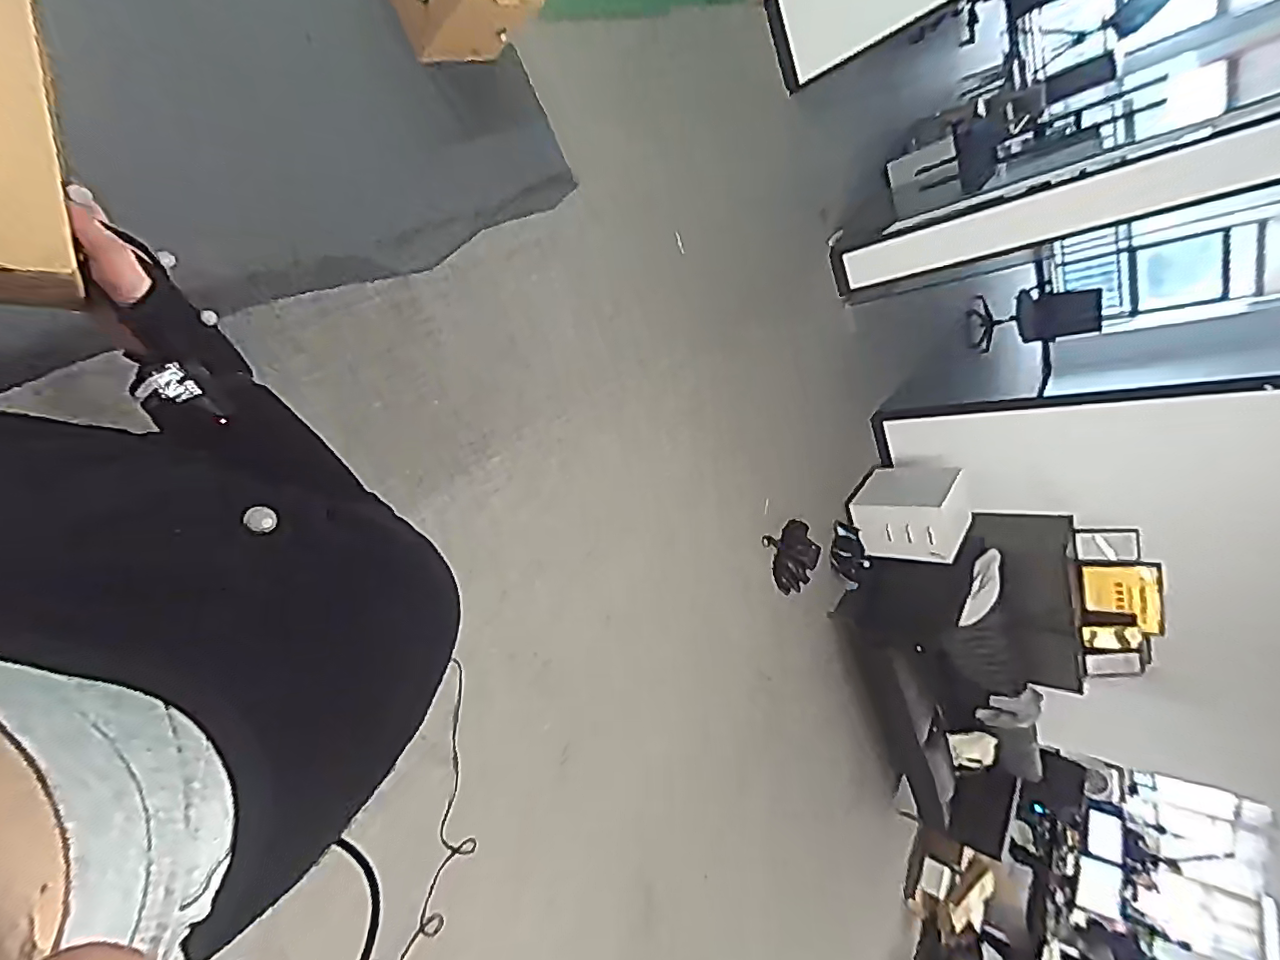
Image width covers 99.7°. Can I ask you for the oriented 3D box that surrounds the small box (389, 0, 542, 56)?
[{"bbox_3d":[-0.289,-0.793,0.835,0.168,0.176,0.179,-41,116,-38],"label":"small box"}]

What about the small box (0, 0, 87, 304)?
[{"bbox_3d":[-0.472,-0.213,0.335,0.168,0.176,0.179,-10,102,-44],"label":"small box"}]
